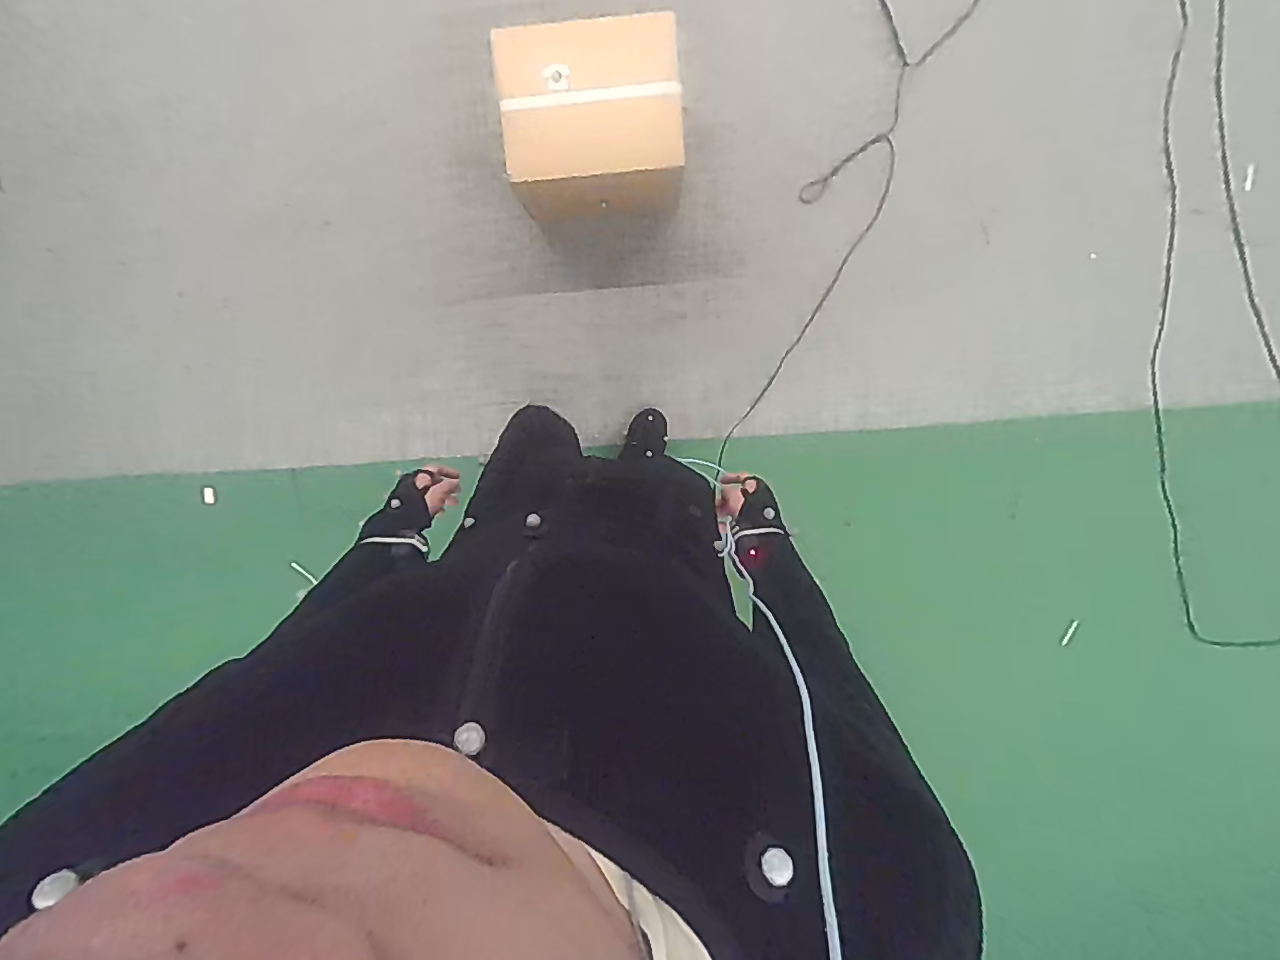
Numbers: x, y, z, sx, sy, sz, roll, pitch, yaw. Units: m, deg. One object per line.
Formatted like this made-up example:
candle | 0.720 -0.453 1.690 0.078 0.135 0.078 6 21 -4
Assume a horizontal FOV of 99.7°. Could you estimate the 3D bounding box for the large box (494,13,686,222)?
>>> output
large box | -0.104 -0.866 1.347 0.408 0.320 0.320 -5 99 3
